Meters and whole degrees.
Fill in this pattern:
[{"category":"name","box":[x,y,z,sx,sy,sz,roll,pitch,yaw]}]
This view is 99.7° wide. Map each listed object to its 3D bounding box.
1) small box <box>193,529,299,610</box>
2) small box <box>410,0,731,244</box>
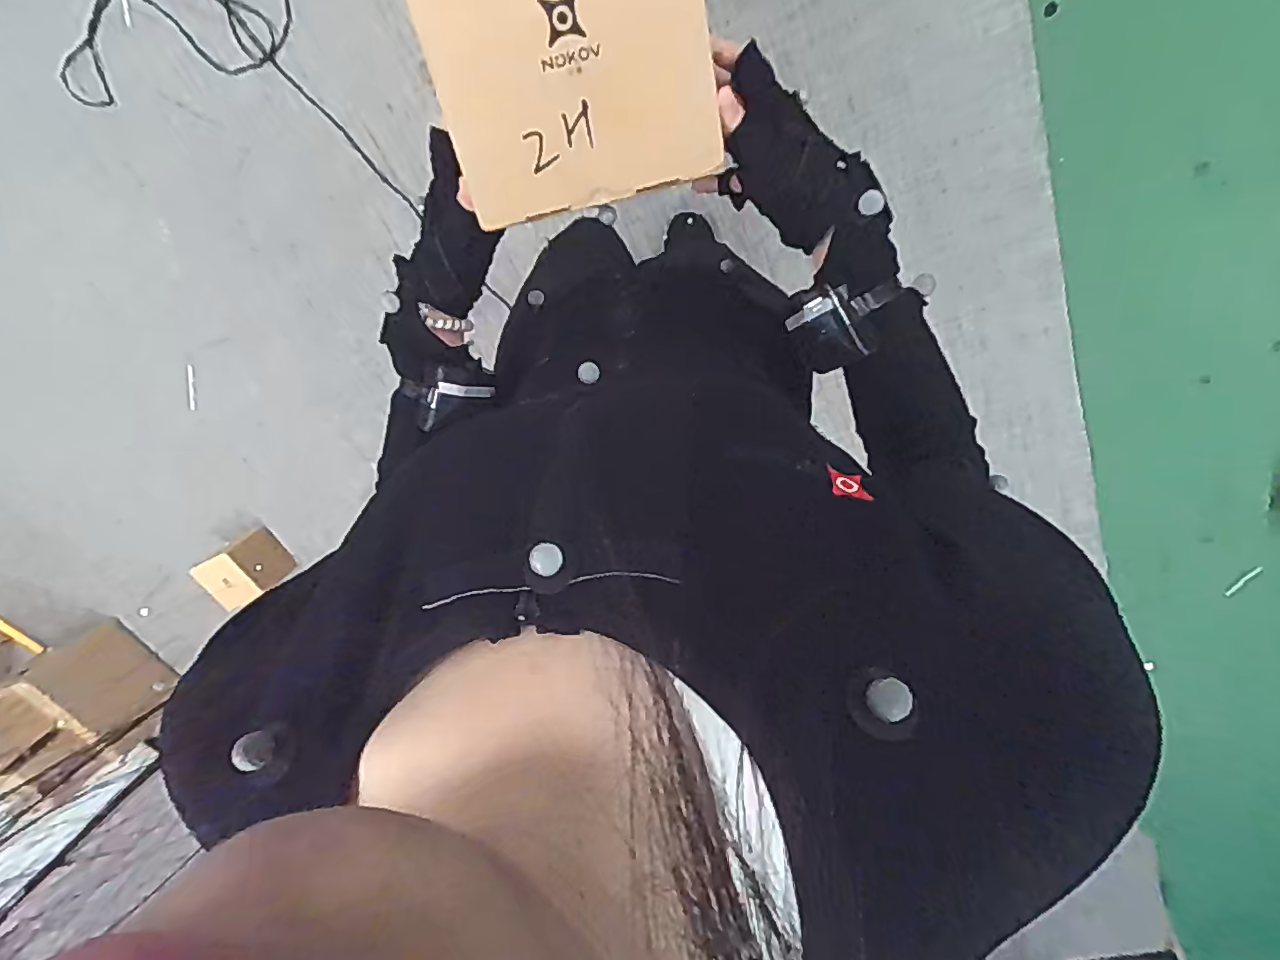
[{"category":"small box","box":[-1.253,0.277,1.732,0.168,0.176,0.179,-23,114,15]},{"category":"small box","box":[-0.042,-0.279,0.380,0.168,0.176,0.179,-12,117,4]}]
